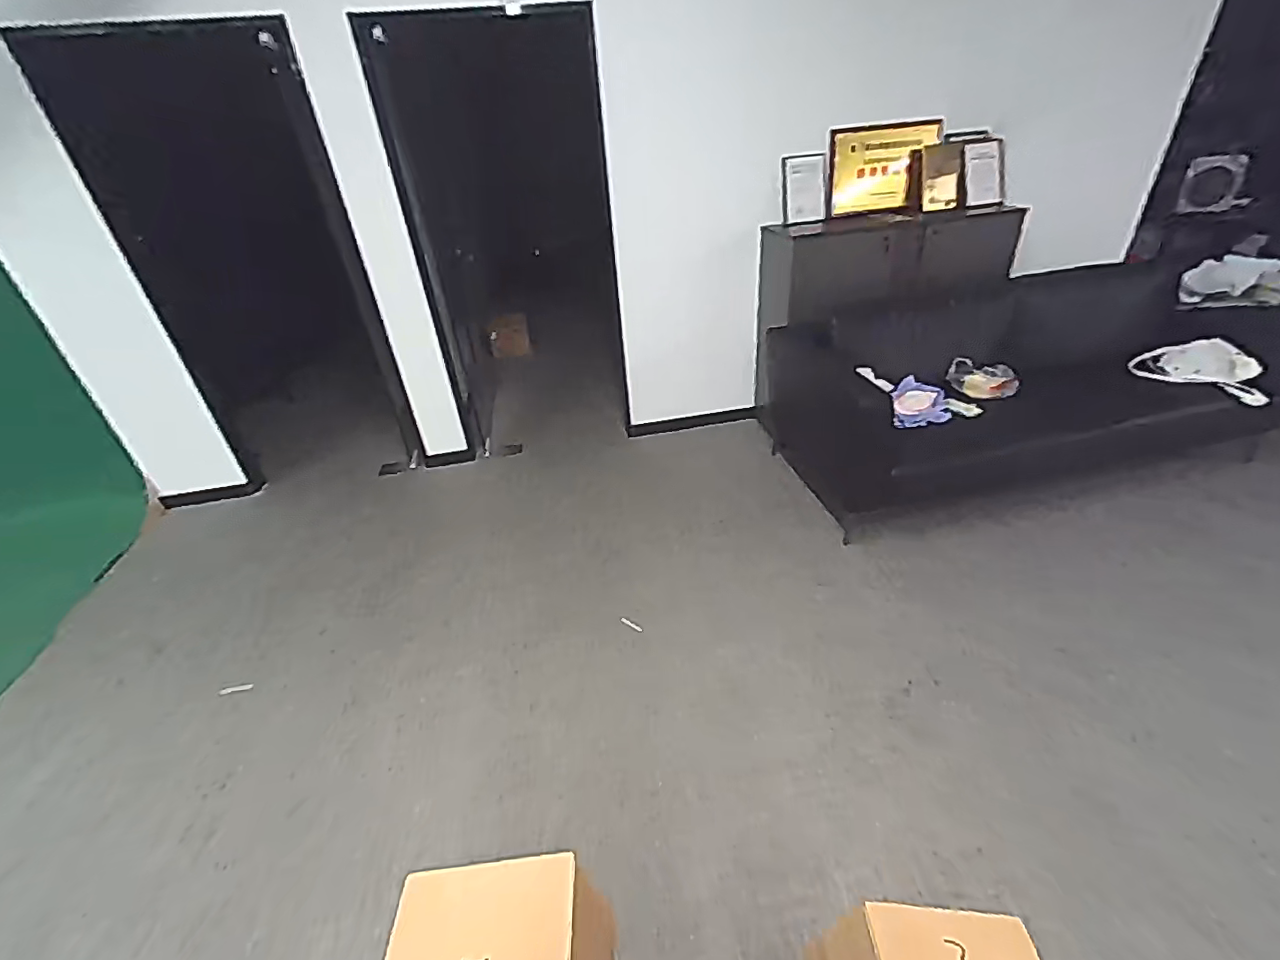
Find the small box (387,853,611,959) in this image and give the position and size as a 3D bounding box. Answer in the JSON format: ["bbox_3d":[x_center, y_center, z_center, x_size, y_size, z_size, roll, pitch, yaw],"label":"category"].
[{"bbox_3d":[-0.123,0.477,0.489,0.168,0.176,0.179,-11,36,4],"label":"small box"}]
